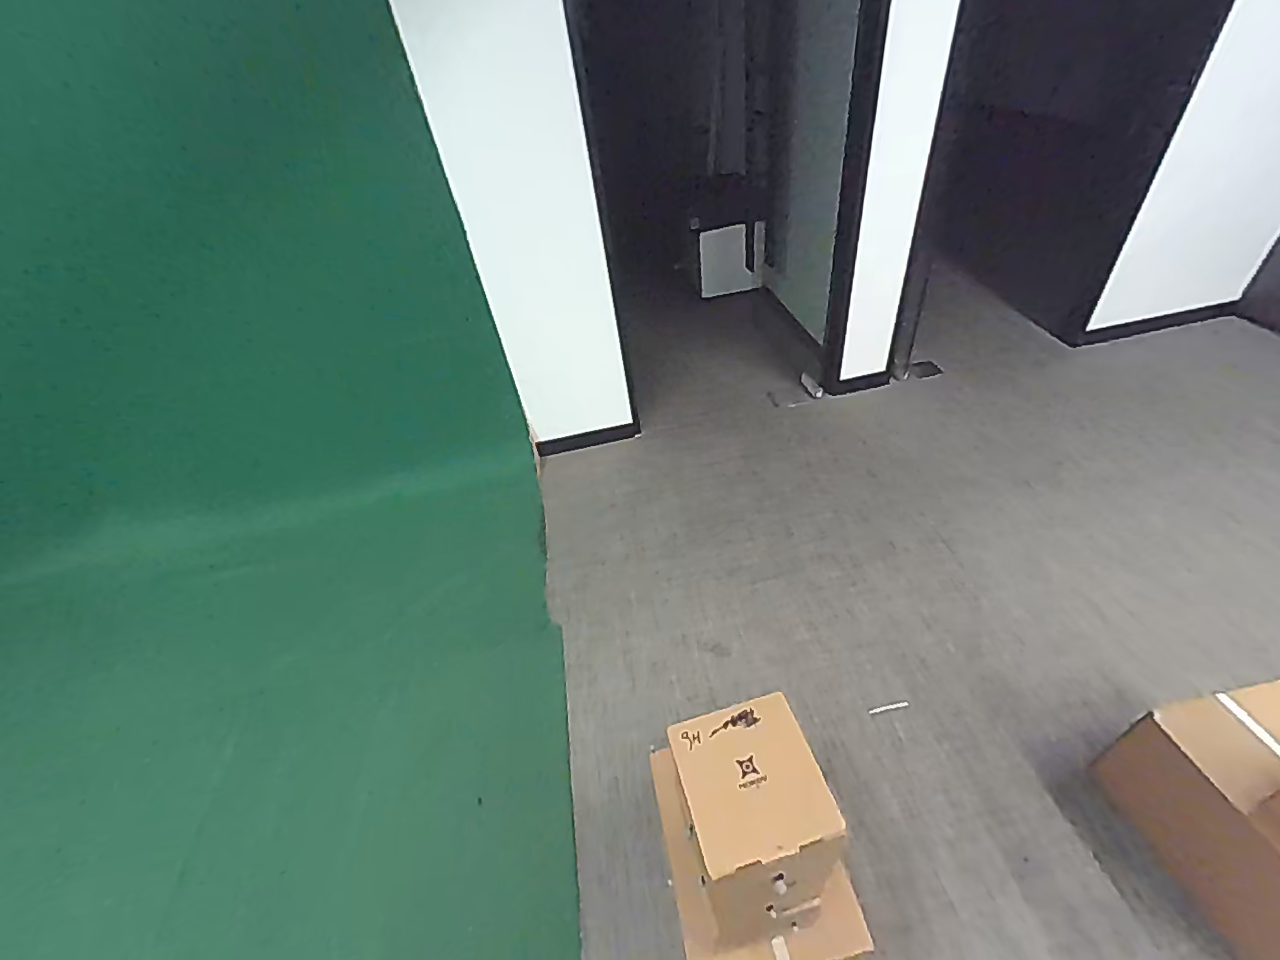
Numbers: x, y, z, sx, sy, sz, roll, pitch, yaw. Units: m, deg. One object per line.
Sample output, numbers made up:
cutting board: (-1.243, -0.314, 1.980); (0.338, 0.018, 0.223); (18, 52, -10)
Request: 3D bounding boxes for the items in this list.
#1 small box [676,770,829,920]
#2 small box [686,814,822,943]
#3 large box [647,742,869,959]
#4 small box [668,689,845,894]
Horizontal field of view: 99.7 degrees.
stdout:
small box: (0.165, 0.533, 0.822); (0.168, 0.176, 0.179); (-16, 41, -7)
small box: (0.188, 0.658, 0.926); (0.179, 0.176, 0.168); (-14, 42, -3)
large box: (0.224, 0.787, 1.142); (0.320, 0.320, 0.408); (-13, 41, -3)
small box: (0.145, 0.413, 0.711); (0.168, 0.176, 0.179); (-15, 42, -5)
